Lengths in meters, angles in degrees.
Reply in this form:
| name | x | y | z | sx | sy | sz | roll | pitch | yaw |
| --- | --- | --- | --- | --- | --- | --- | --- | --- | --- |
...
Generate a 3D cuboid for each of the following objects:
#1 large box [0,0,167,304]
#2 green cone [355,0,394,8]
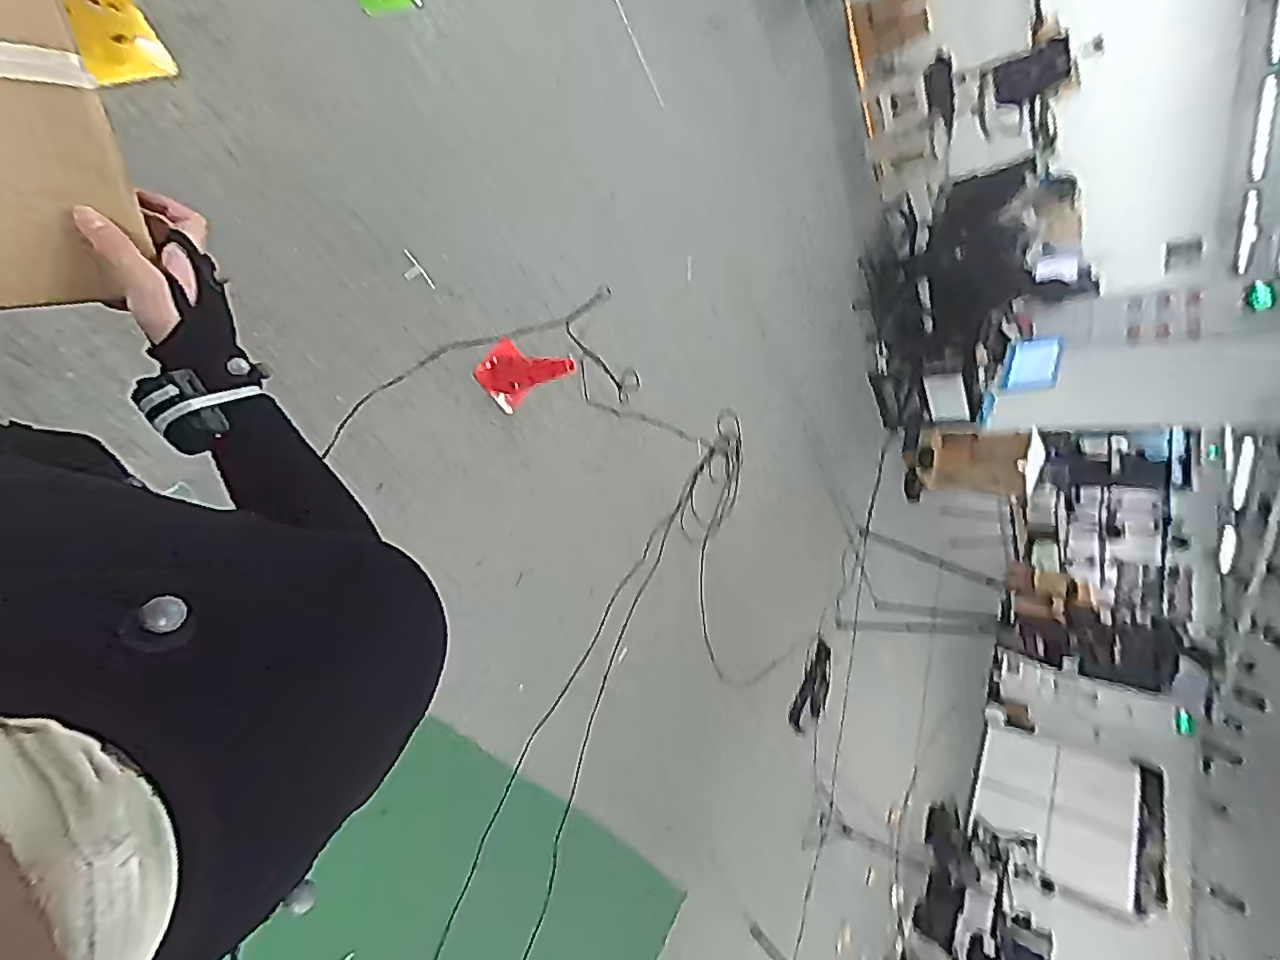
| name | x | y | z | sx | sy | sz | roll | pitch | yaw |
| --- | --- | --- | --- | --- | --- | --- | --- | --- | --- |
| large box | -0.655 | -0.277 | 0.363 | 0.408 | 0.320 | 0.320 | -26 | 124 | -44 |
| green cone | -0.660 | -1.466 | 1.416 | 0.202 | 0.368 | 0.200 | -50 | 126 | -31 |
